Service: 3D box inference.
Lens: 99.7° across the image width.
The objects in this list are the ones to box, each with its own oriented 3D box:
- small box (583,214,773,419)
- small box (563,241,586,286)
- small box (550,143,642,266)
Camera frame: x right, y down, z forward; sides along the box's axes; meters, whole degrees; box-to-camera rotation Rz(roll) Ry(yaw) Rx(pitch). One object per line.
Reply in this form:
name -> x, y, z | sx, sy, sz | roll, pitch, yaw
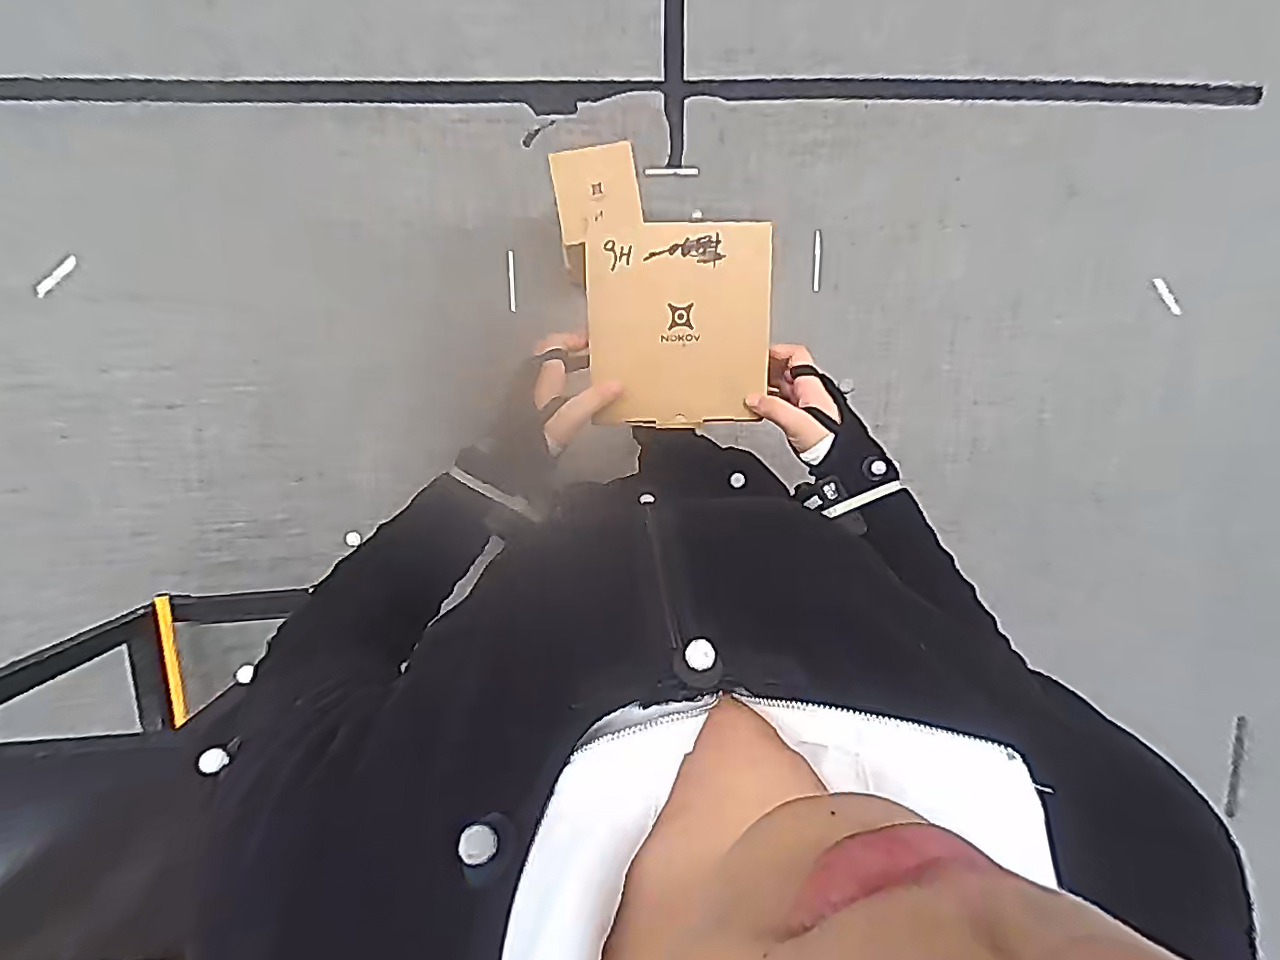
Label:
small box -> 0.031, -0.164, 0.560 | 0.168, 0.176, 0.179 | -2, 105, -3
small box -> -0.101, -0.581, 1.304 | 0.168, 0.176, 0.179 | -5, 100, -2
small box -> -0.088, -0.571, 1.139 | 0.168, 0.176, 0.179 | -10, 99, -1
